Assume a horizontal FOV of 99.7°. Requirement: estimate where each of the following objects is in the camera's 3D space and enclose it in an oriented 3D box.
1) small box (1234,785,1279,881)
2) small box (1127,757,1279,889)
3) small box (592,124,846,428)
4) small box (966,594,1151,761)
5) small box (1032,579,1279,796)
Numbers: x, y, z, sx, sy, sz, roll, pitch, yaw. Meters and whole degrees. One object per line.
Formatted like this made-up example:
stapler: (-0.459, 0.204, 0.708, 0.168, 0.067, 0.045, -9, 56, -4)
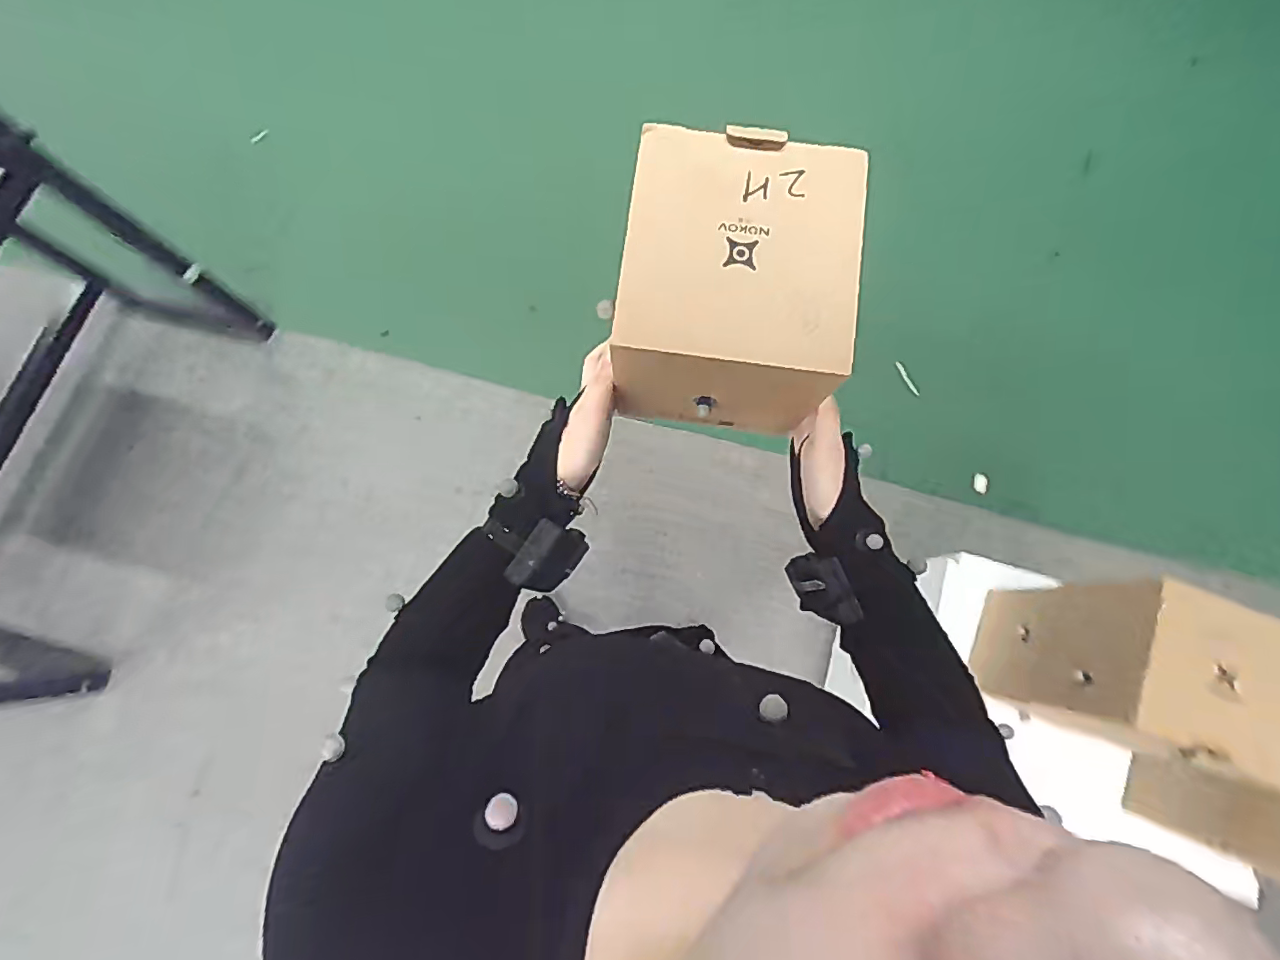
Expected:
small box: (0.843, 0.407, 0.607, 0.168, 0.176, 0.179, 23, 78, 7)
small box: (0.849, 0.453, 0.763, 0.168, 0.176, 0.179, 24, 77, 7)
small box: (0.058, -0.152, 0.457, 0.168, 0.176, 0.179, 7, 80, 0)
small box: (0.630, 0.280, 0.813, 0.168, 0.176, 0.179, 23, 79, 6)
small box: (0.624, 0.237, 0.656, 0.168, 0.176, 0.179, 23, 77, 5)
